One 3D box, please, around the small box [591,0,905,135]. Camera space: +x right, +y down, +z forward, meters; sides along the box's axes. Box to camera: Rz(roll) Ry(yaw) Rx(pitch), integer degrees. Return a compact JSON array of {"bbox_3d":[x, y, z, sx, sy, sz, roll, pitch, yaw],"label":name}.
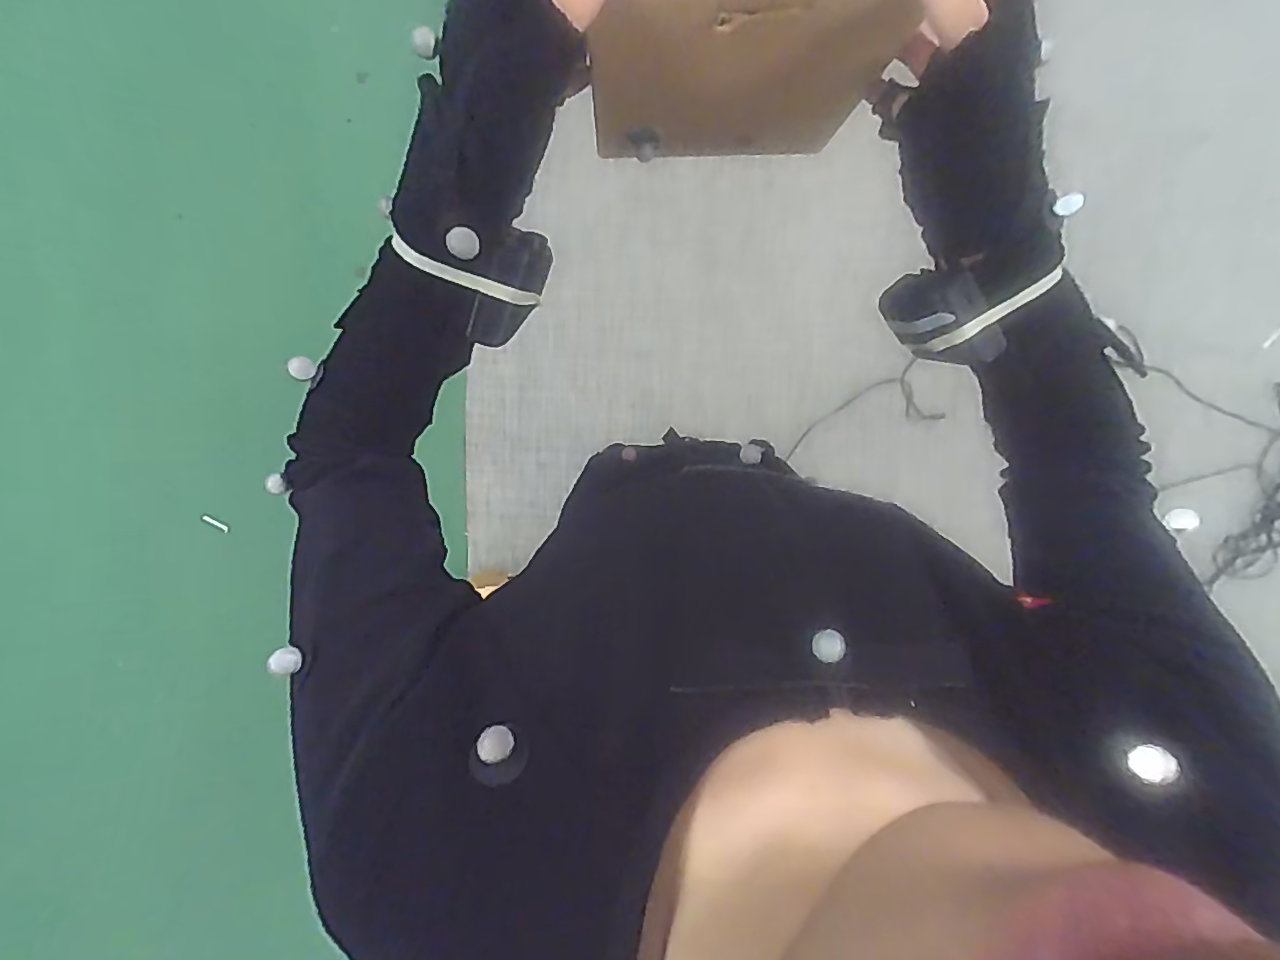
[{"bbox_3d":[0.054,-0.319,0.299,0.168,0.176,0.179,-3,96,-2],"label":"small box"}]
